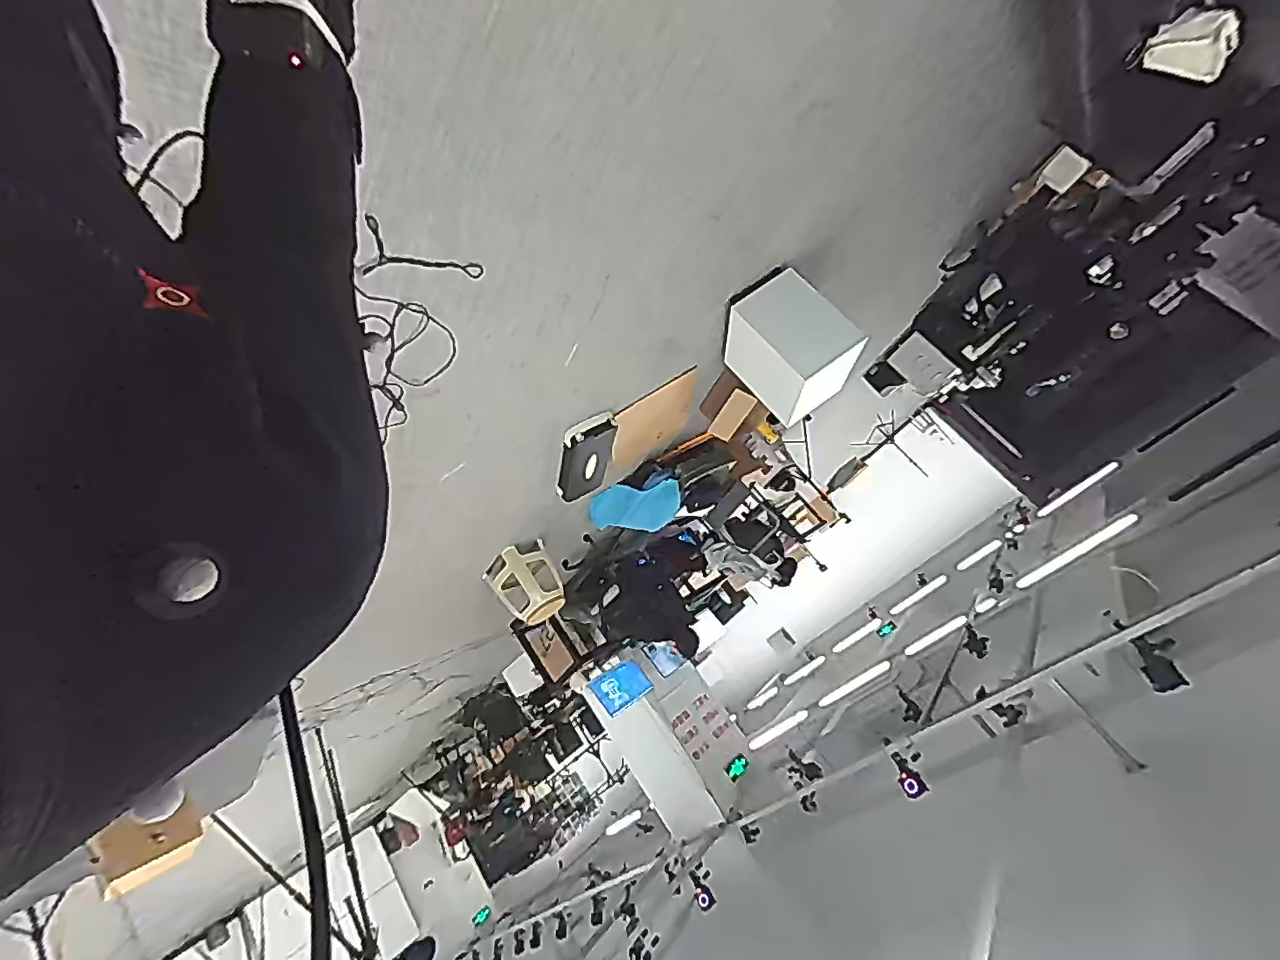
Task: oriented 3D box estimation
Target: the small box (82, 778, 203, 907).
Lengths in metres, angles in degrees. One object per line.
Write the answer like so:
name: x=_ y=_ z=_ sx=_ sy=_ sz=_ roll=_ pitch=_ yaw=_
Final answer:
small box: x=-1.218 y=0.877 z=1.320 sx=0.168 sy=0.176 sz=0.179 roll=-49 pitch=160 yaw=28
